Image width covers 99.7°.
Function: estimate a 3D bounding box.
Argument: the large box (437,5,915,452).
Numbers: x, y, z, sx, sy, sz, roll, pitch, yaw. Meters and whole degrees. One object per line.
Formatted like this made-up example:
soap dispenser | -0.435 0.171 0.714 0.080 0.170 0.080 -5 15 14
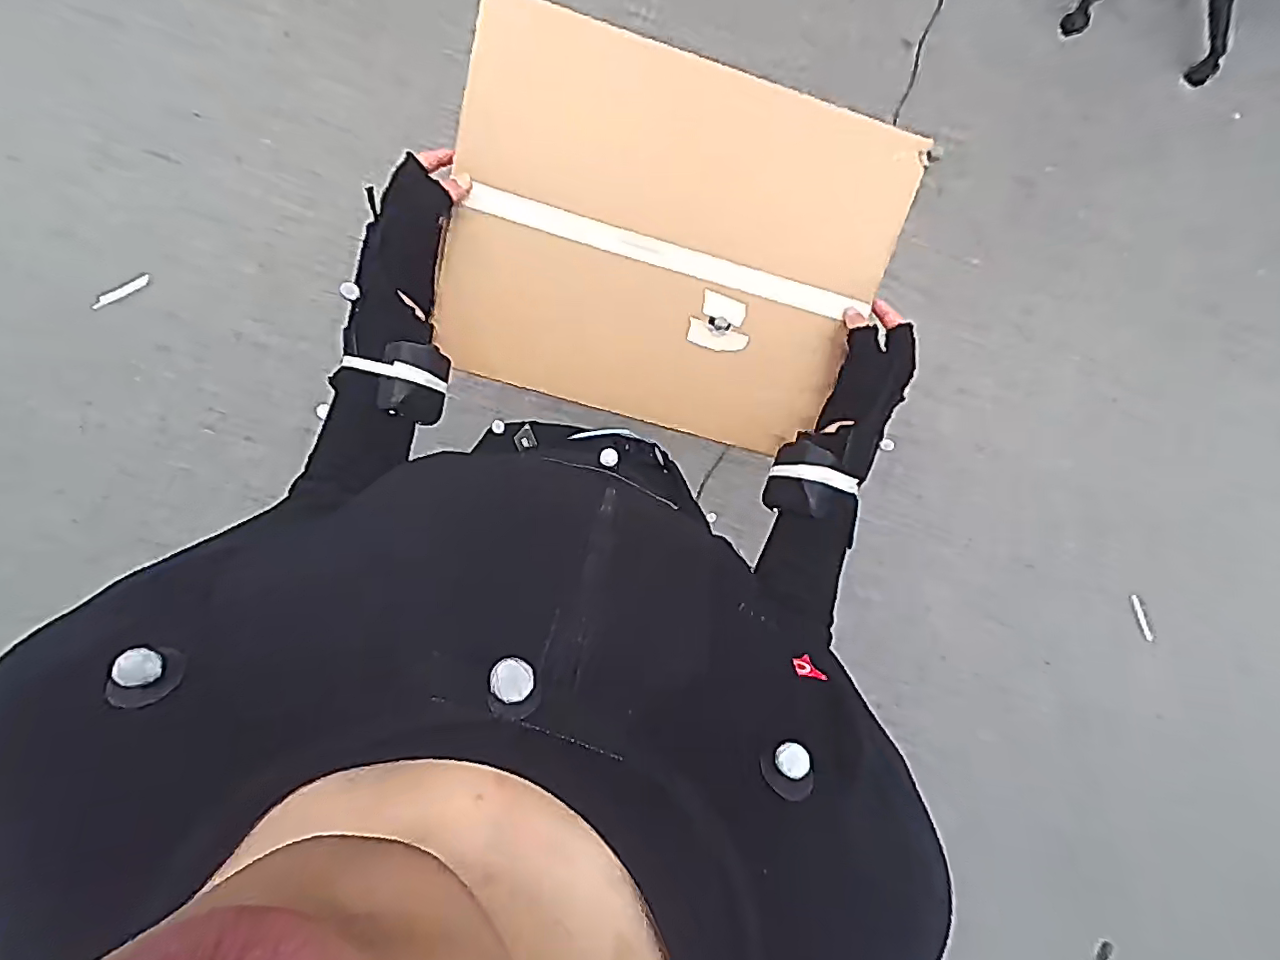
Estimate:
large box | 0.019 -0.259 0.660 0.408 0.320 0.320 15 107 -7
